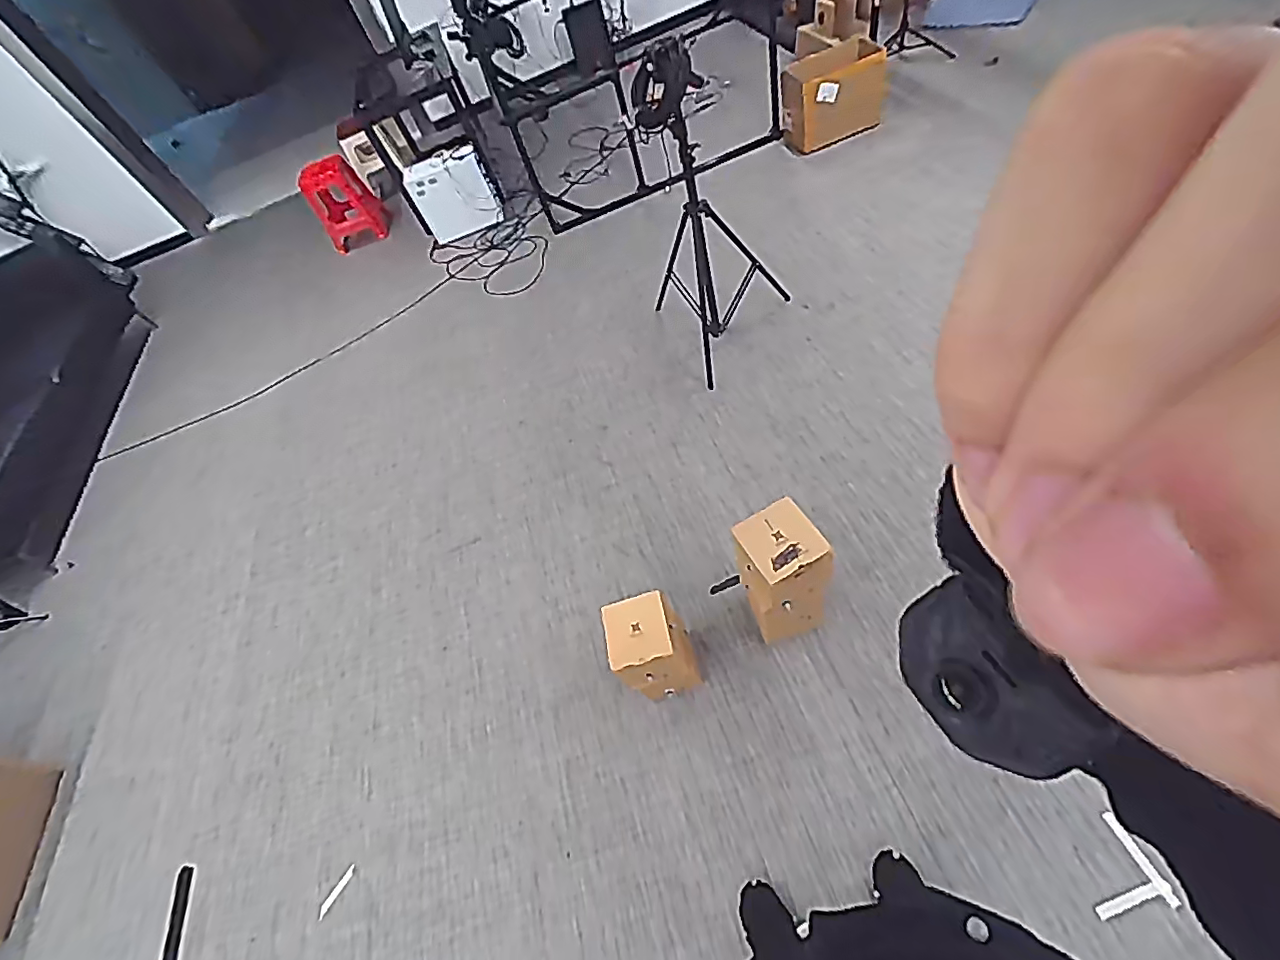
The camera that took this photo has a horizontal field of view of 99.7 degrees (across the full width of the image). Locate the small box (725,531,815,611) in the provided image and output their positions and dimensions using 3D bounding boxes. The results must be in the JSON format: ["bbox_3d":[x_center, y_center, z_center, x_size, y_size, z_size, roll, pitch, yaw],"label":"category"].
[{"bbox_3d":[0.334,0.210,1.400,0.168,0.176,0.179,-23,53,1],"label":"small box"}]

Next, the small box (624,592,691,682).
[{"bbox_3d":[0.033,0.449,1.534,0.168,0.176,0.179,-21,53,5],"label":"small box"}]

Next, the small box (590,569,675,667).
[{"bbox_3d":[-0.019,0.363,1.409,0.168,0.176,0.179,-19,54,6],"label":"small box"}]

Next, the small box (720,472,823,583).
[{"bbox_3d":[0.308,0.120,1.263,0.168,0.176,0.179,-29,54,-4],"label":"small box"}]
